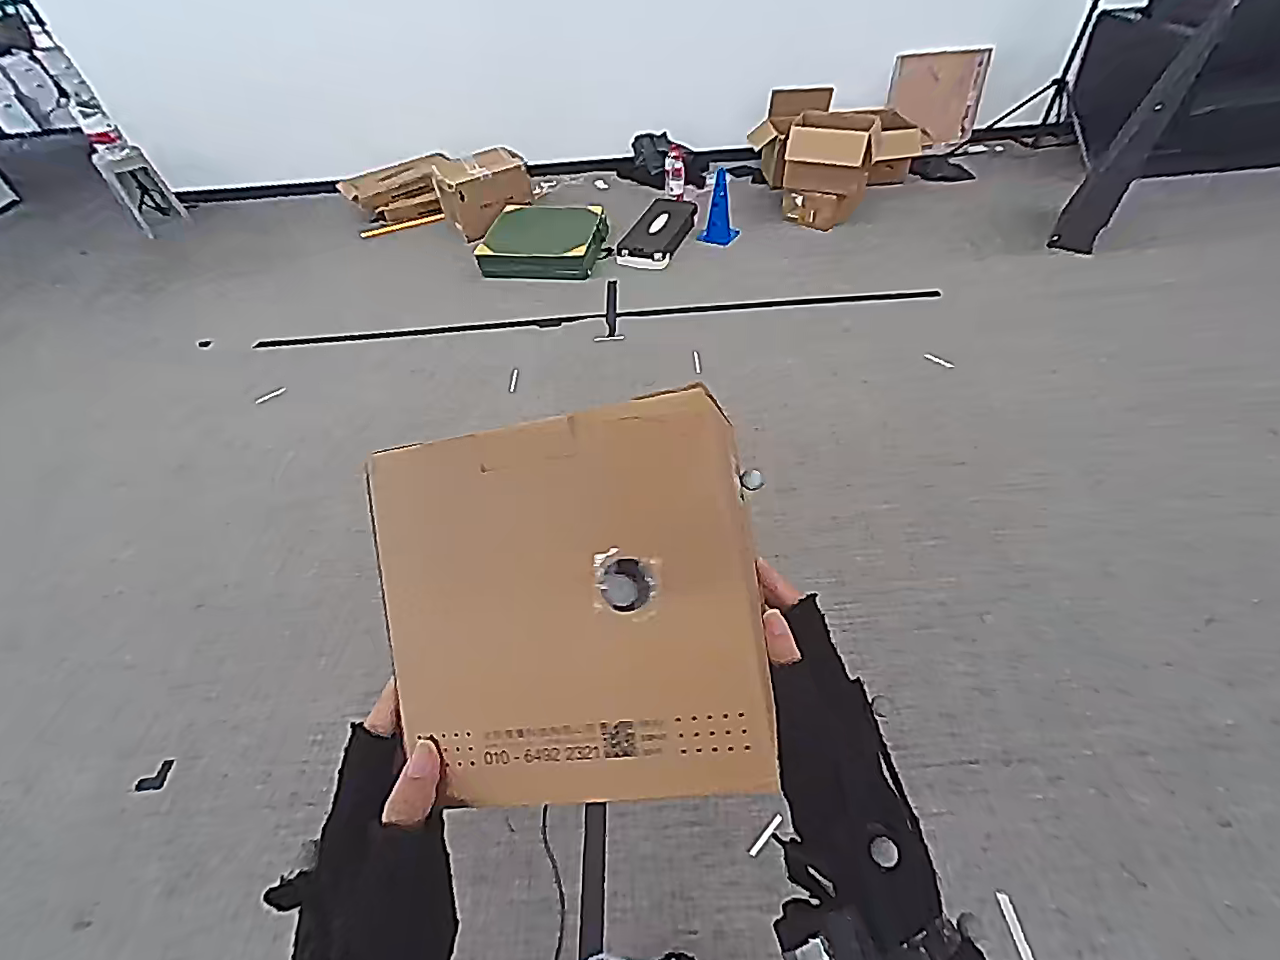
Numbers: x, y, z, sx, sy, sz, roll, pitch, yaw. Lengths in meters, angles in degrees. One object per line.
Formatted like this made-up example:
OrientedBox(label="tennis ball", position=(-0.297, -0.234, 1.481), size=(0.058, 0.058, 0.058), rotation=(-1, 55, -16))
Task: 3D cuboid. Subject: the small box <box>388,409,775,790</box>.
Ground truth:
OrientedBox(label="small box", position=(-0.015, 0.065, 0.330), size=(0.168, 0.179, 0.176), rotation=(-10, 87, 15))
